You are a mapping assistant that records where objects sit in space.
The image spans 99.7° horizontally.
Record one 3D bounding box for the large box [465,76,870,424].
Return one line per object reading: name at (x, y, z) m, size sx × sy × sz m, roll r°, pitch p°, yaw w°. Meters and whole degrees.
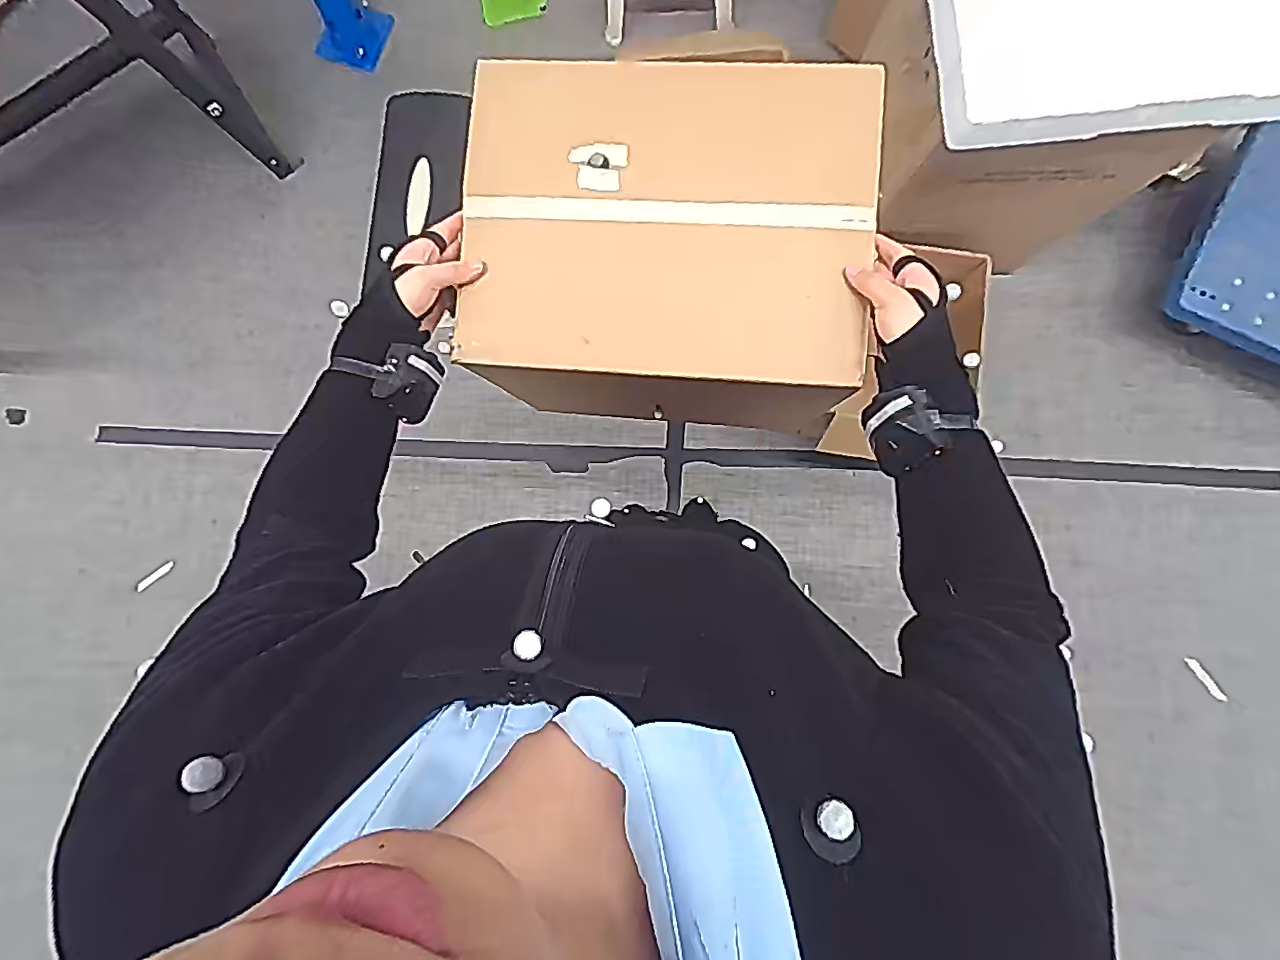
large box at (0.039, -0.249, 0.693) m, size 0.408 × 0.320 × 0.320 m, roll 4°, pitch 87°, yaw 6°
